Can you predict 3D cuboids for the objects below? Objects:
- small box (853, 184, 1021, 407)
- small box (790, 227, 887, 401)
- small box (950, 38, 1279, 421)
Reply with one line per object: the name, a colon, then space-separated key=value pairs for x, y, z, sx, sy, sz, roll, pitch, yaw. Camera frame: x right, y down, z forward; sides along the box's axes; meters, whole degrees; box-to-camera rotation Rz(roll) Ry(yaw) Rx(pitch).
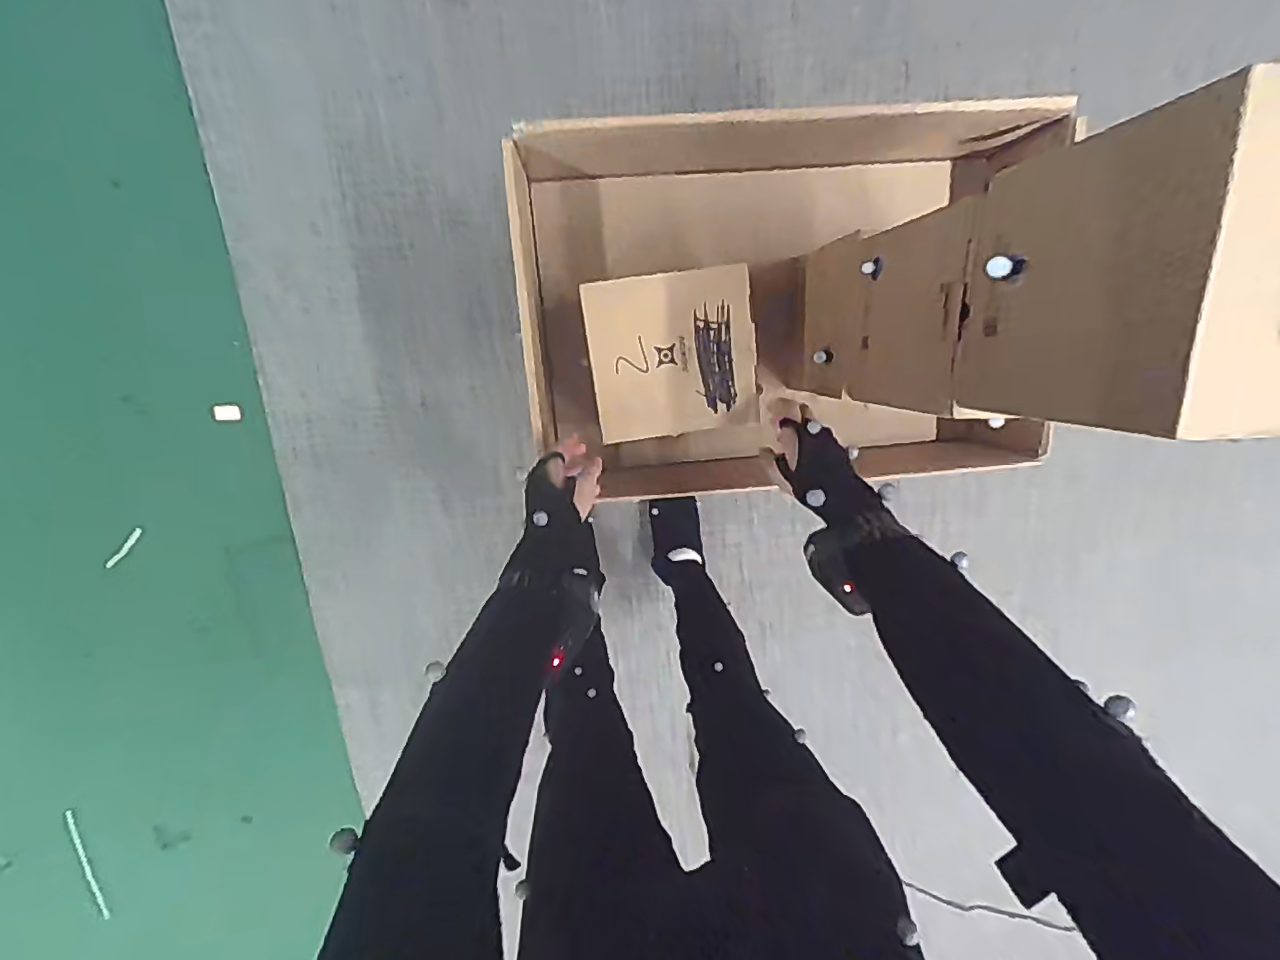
small box: x=0.315 y=-0.154 z=0.493 sx=0.179 sy=0.176 sz=0.168 roll=-2 pitch=103 yaw=-4
small box: x=0.289 y=-0.191 z=0.651 sx=0.168 sy=0.176 sz=0.179 roll=0 pitch=103 yaw=-4
small box: x=0.332 y=-0.128 z=0.332 sx=0.179 sy=0.176 sz=0.168 roll=-2 pitch=102 yaw=-4
